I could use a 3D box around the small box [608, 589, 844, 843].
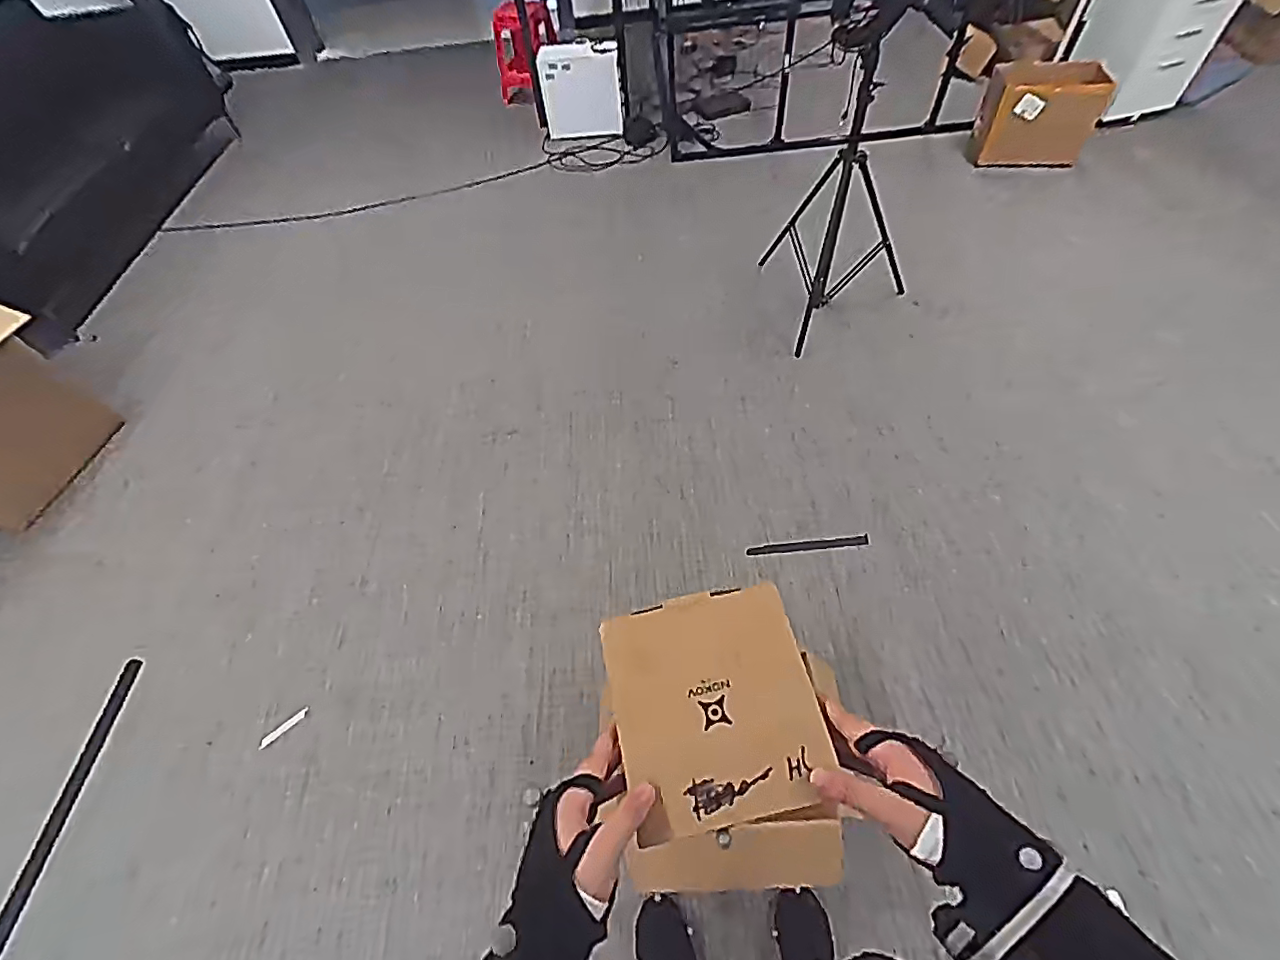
[{"bbox_3d":[0.069,0.228,0.527,0.168,0.176,0.179,-12,62,-2],"label":"small box"}]
